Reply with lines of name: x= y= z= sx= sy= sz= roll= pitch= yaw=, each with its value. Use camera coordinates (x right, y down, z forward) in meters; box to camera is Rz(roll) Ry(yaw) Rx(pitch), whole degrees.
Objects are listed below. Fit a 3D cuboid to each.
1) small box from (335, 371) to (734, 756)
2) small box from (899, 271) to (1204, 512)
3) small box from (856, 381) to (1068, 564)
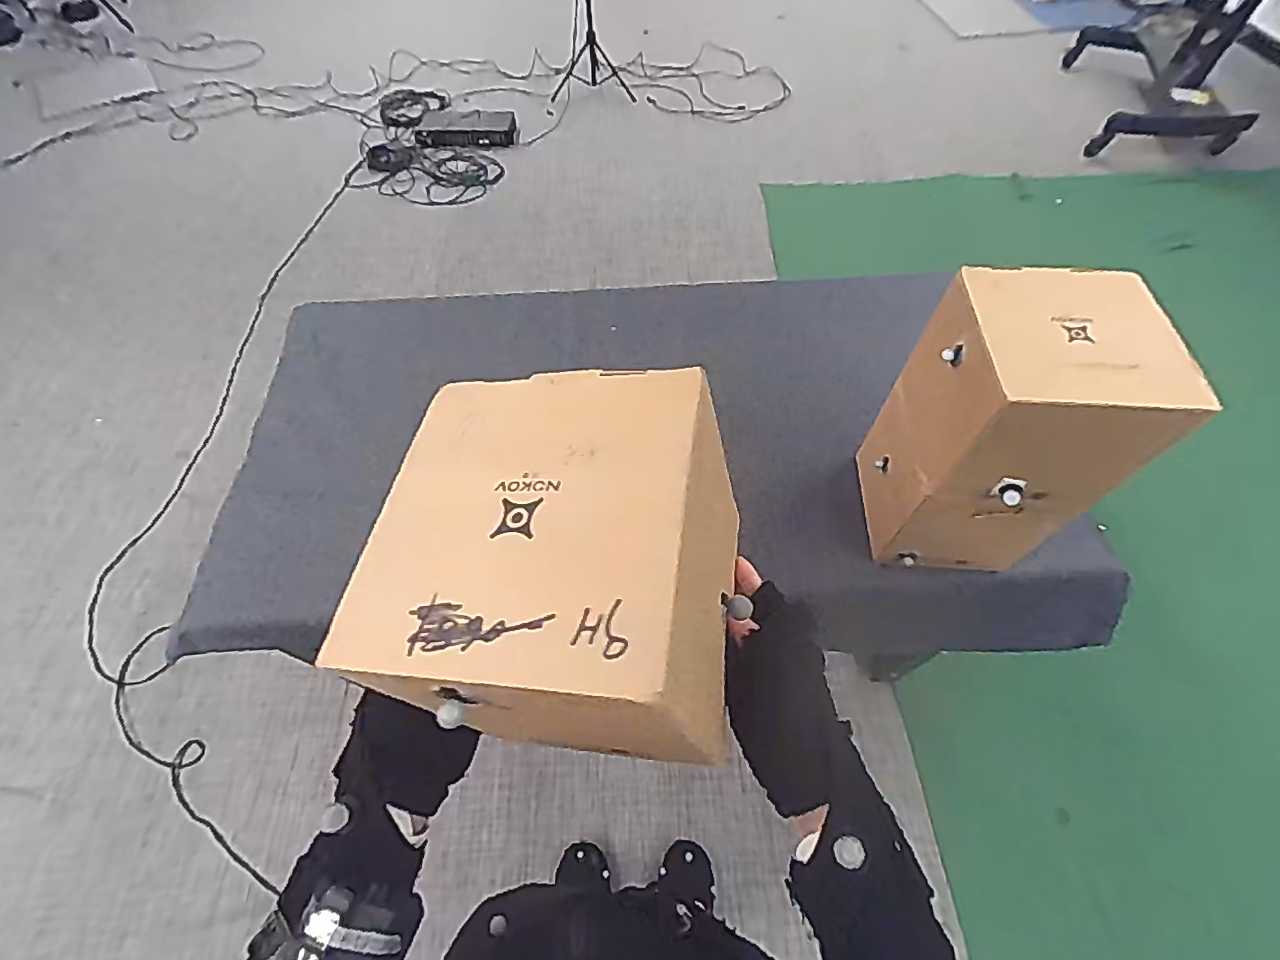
small box: x=-0.036 y=0.055 z=0.343 sx=0.168 sy=0.176 sz=0.179 roll=-1 pitch=55 yaw=18
small box: x=0.387 y=-0.087 z=0.556 sx=0.168 sy=0.176 sz=0.179 roll=3 pitch=59 yaw=5
small box: x=0.393 y=-0.004 z=0.694 sx=0.168 sy=0.176 sz=0.179 roll=3 pitch=57 yaw=4
